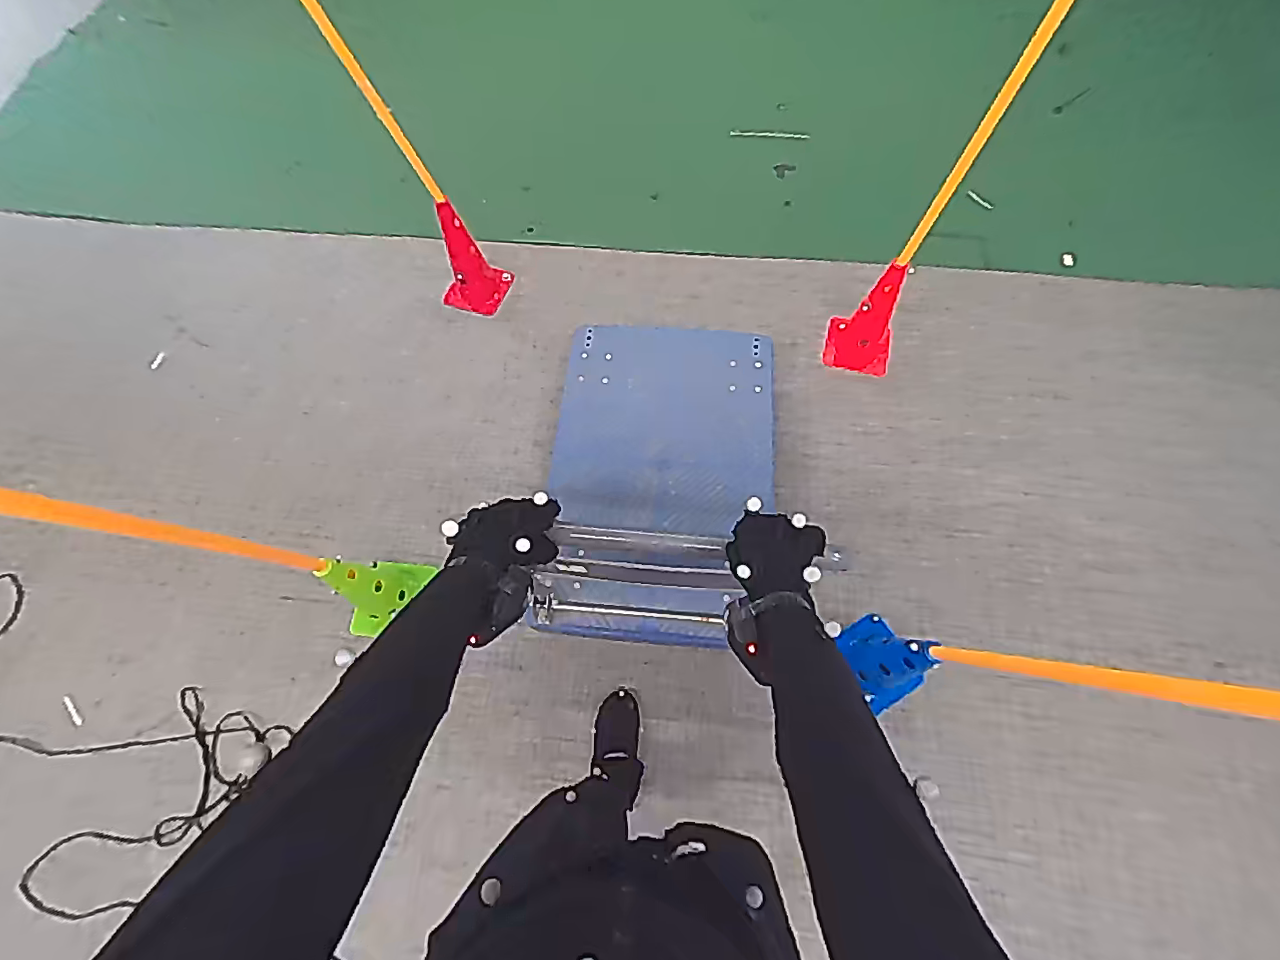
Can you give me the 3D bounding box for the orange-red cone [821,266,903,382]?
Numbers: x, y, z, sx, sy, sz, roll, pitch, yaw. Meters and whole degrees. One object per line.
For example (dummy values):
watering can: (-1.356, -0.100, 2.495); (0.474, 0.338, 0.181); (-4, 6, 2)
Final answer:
orange-red cone: (0.686, -0.479, 1.586); (0.198, 0.360, 0.199); (15, 68, 9)
